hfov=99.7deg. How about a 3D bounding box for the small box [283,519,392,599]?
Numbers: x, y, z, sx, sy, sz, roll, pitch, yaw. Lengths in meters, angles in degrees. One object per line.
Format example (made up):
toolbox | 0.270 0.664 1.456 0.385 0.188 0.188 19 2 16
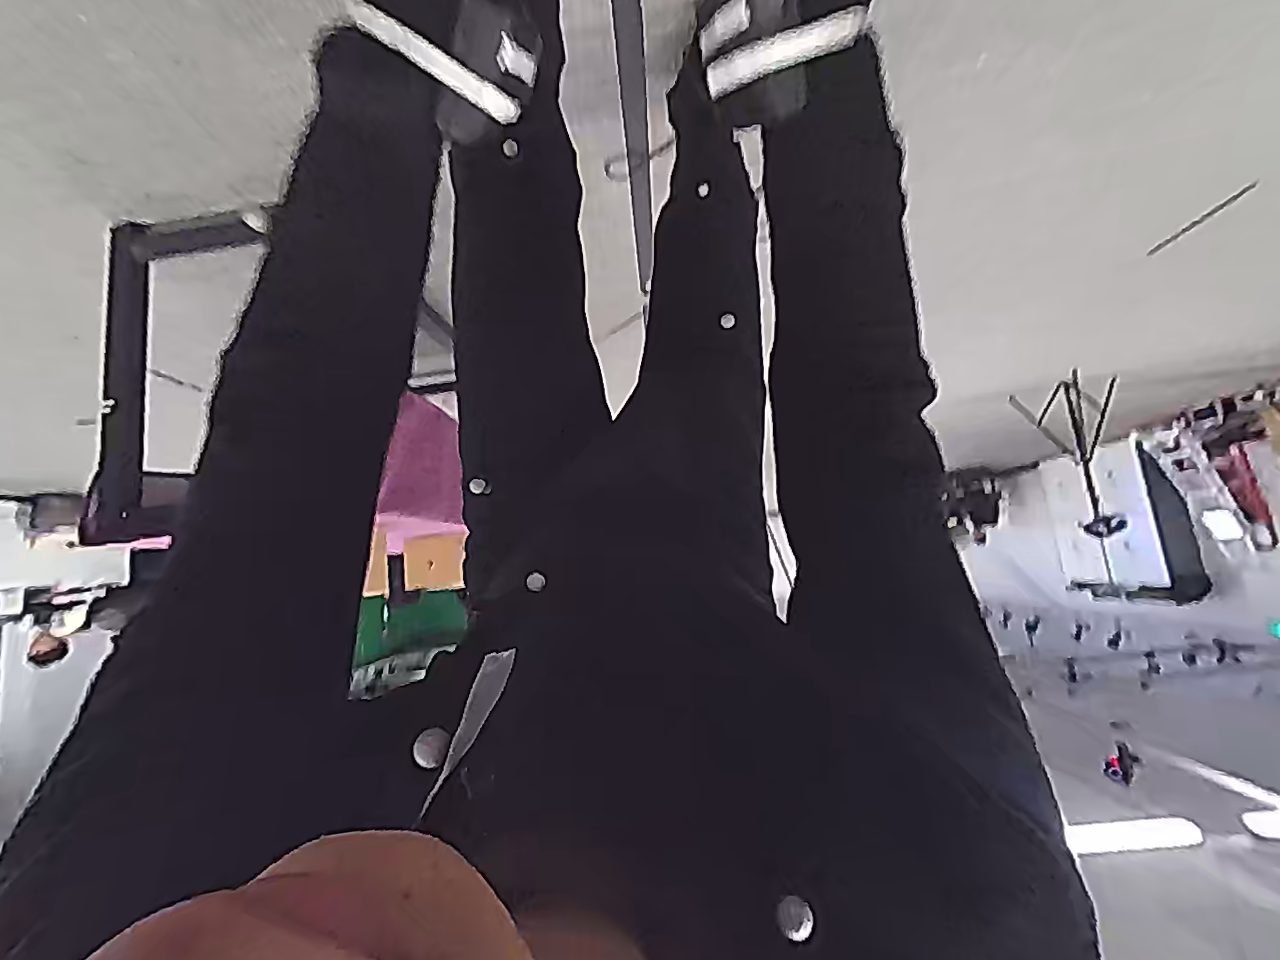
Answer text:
small box | -0.738 0.187 1.317 0.179 0.176 0.168 -8 172 10

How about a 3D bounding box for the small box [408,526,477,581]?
small box | -0.691 0.257 1.892 0.179 0.176 0.168 -9 172 7
